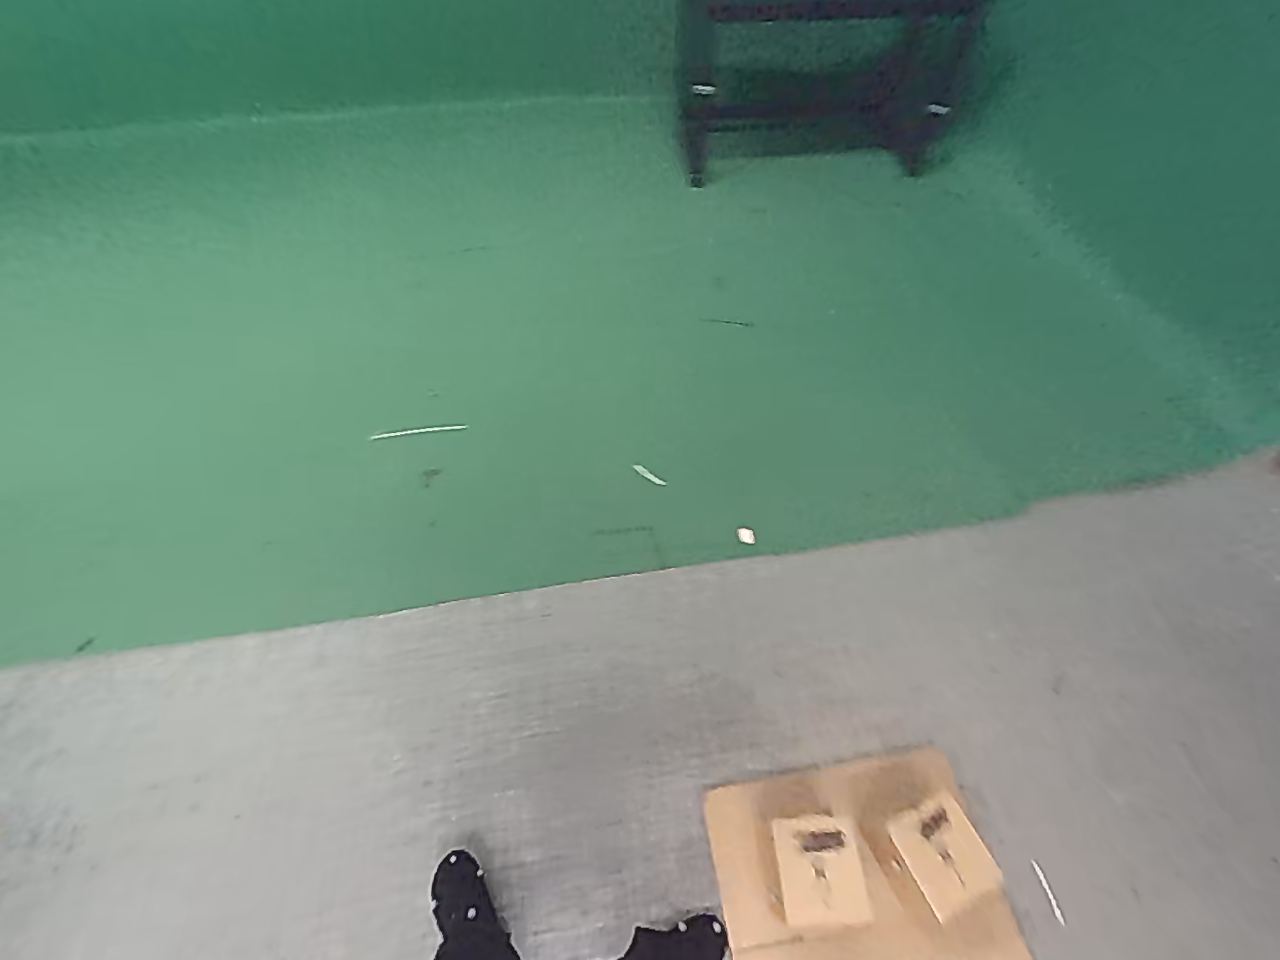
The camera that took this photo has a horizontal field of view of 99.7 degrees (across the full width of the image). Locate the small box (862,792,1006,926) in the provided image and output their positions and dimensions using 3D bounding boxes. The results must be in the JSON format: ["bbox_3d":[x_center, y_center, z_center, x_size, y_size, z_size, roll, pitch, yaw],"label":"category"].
[{"bbox_3d":[0.602,0.788,1.137,0.168,0.176,0.179,-19,60,-12],"label":"small box"}]
